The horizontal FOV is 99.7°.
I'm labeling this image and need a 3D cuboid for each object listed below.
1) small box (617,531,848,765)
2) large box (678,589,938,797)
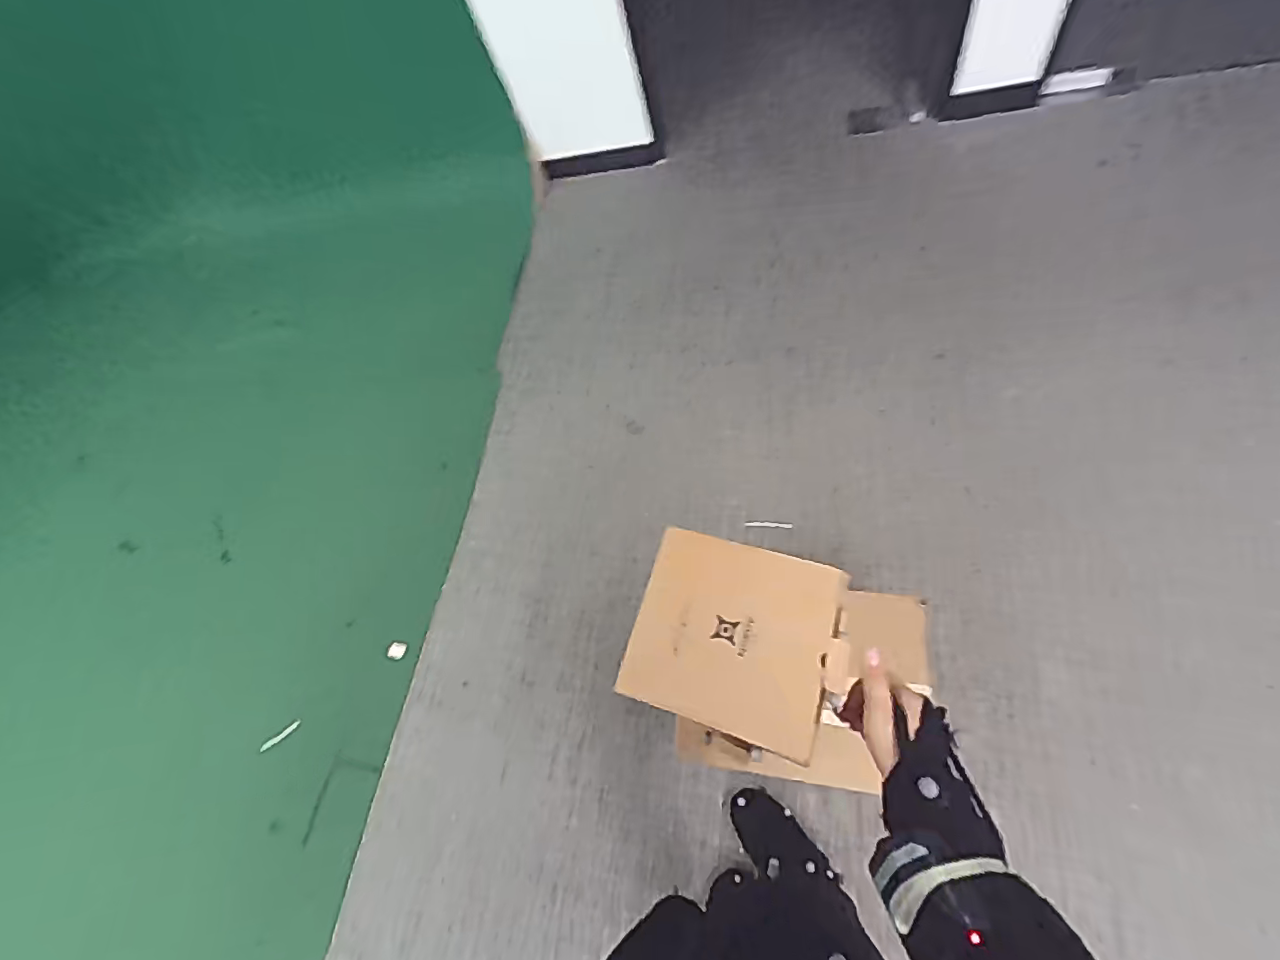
[{"bbox_3d":[0.102,0.172,0.556,0.179,0.176,0.168,11,68,21],"label":"small box"},{"bbox_3d":[0.303,0.394,1.043,0.408,0.320,0.320,1,67,15],"label":"large box"}]
